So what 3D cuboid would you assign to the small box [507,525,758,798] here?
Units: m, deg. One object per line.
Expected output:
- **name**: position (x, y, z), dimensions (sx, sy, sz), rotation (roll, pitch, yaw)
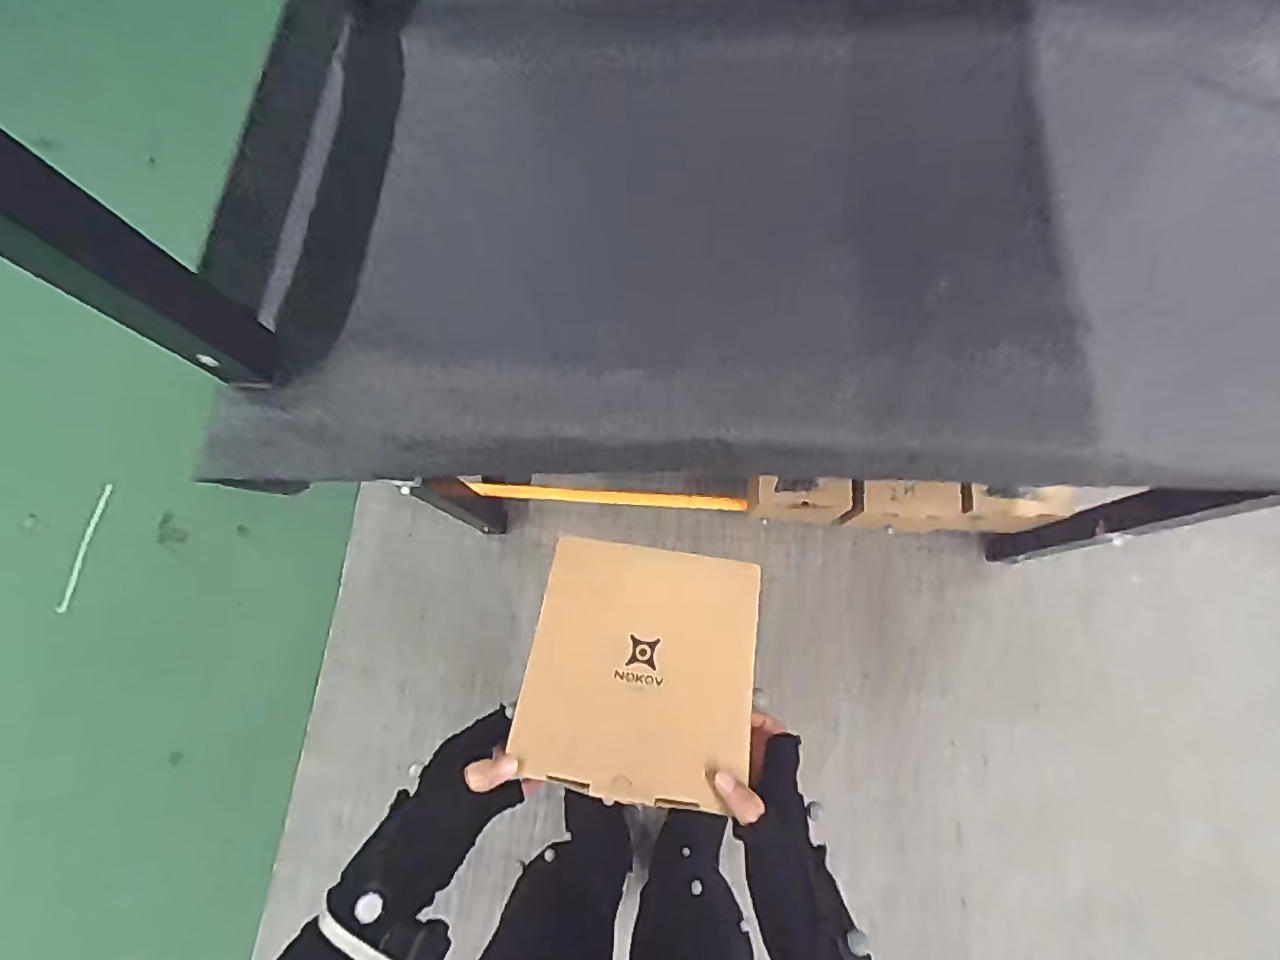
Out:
- **small box**: position (0.001, 0.162, 0.472), dimensions (0.168, 0.176, 0.179), rotation (8, 62, 5)
